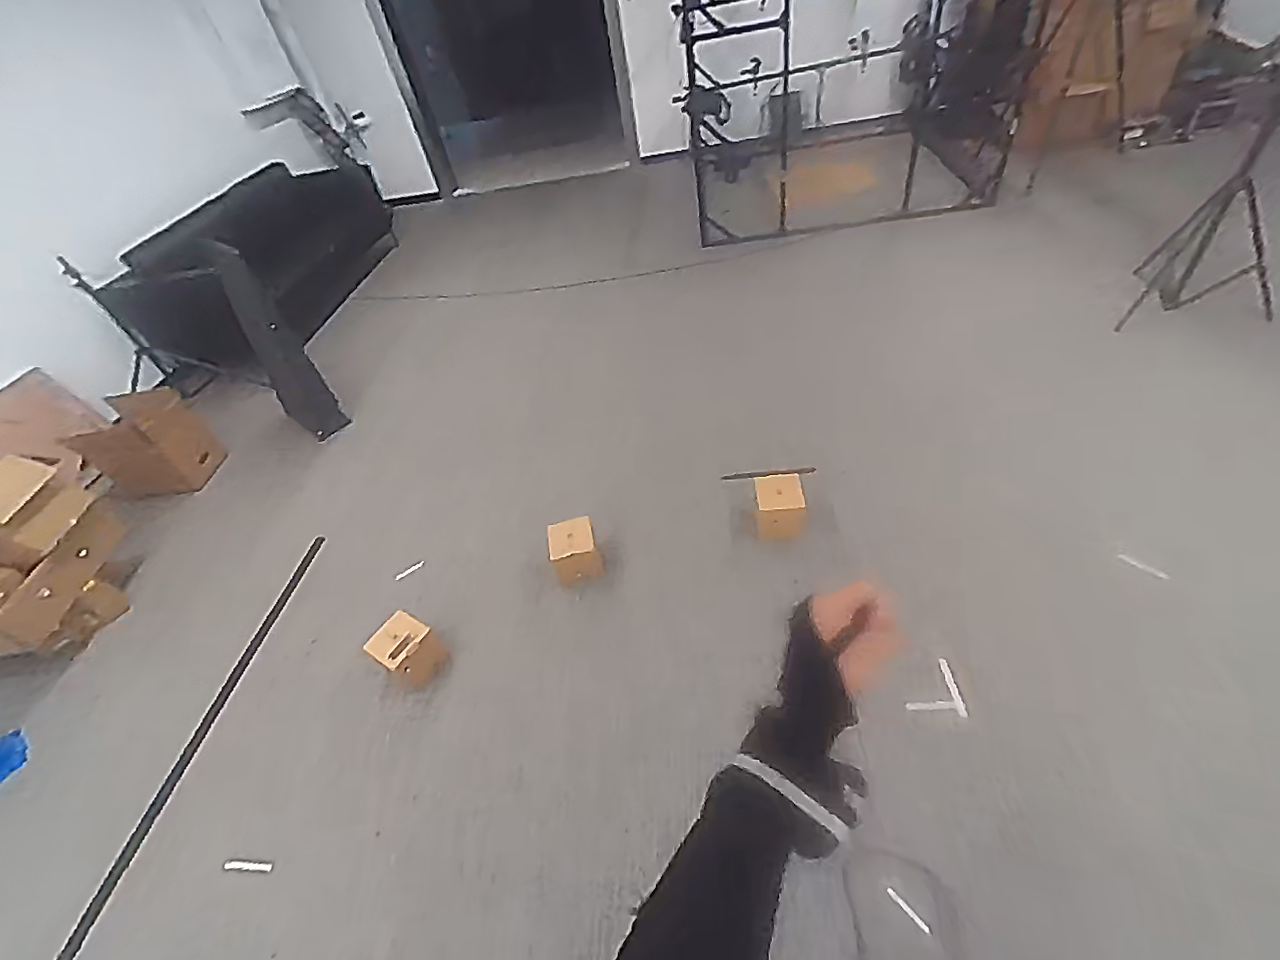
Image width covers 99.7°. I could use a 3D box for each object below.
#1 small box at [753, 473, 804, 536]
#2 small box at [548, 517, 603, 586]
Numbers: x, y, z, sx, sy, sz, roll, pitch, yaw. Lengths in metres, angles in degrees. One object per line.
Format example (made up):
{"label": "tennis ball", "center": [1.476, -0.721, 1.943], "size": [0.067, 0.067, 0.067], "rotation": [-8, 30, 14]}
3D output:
{"label": "small box", "center": [0.523, 0.101, 2.044], "size": [0.168, 0.176, 0.179], "rotation": [-6, 44, 8]}
{"label": "small box", "center": [-0.244, 0.271, 2.053], "size": [0.168, 0.176, 0.179], "rotation": [-15, 44, -1]}
